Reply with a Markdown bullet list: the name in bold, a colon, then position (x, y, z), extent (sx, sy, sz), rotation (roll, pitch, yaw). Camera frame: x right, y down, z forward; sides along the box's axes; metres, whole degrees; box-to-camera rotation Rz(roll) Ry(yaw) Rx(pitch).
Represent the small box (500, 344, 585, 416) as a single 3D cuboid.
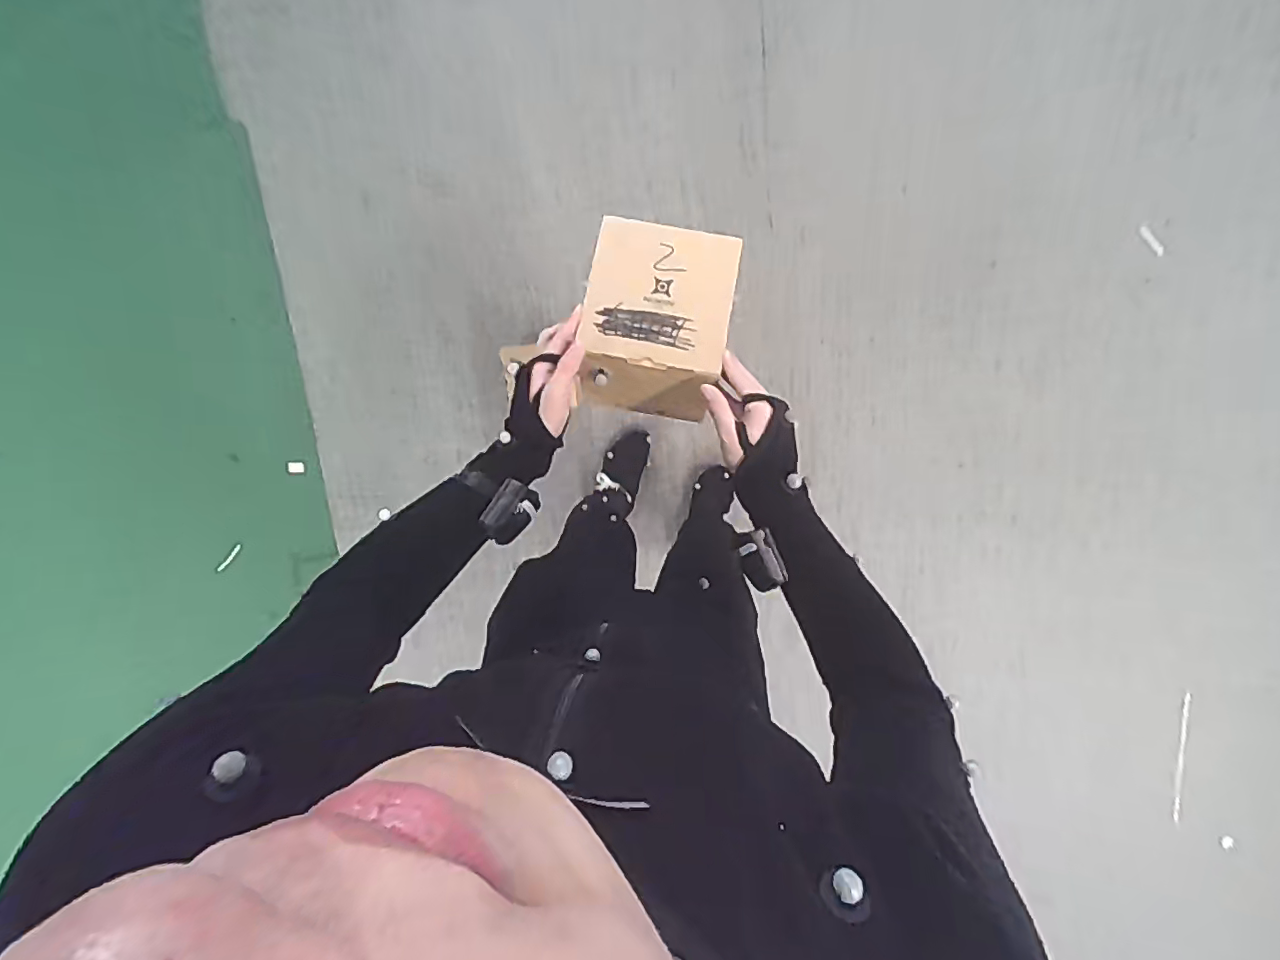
- **small box**: position (-0.249, -0.261, 1.418), extent (0.179, 0.176, 0.168), rotation (-6, 101, 2)
